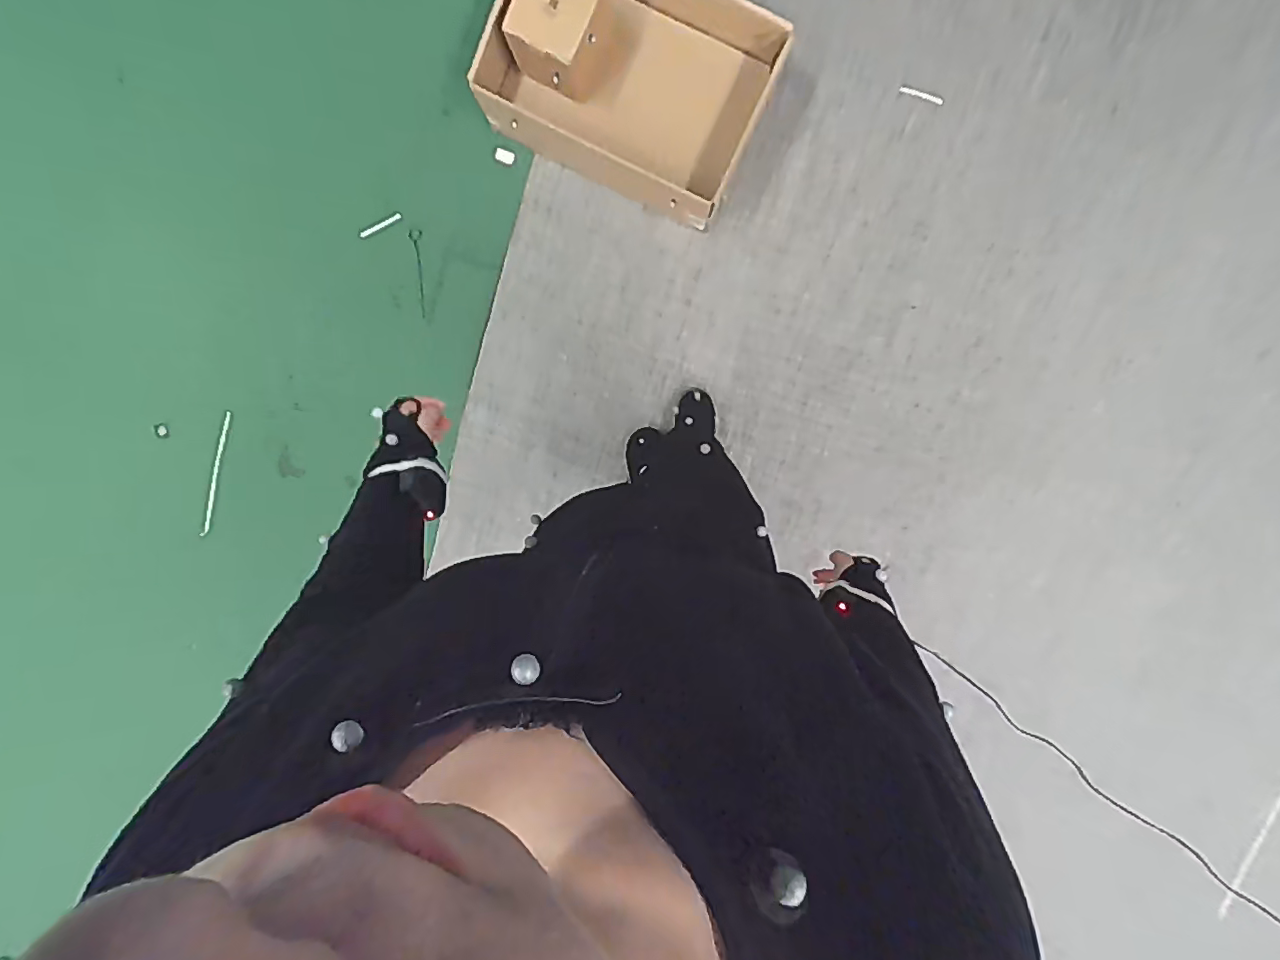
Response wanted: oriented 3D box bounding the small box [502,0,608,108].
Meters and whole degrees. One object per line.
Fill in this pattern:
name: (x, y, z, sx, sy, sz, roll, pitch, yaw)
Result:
small box: (-0.181, -0.993, 1.220, 0.168, 0.176, 0.179, 27, 98, -3)
